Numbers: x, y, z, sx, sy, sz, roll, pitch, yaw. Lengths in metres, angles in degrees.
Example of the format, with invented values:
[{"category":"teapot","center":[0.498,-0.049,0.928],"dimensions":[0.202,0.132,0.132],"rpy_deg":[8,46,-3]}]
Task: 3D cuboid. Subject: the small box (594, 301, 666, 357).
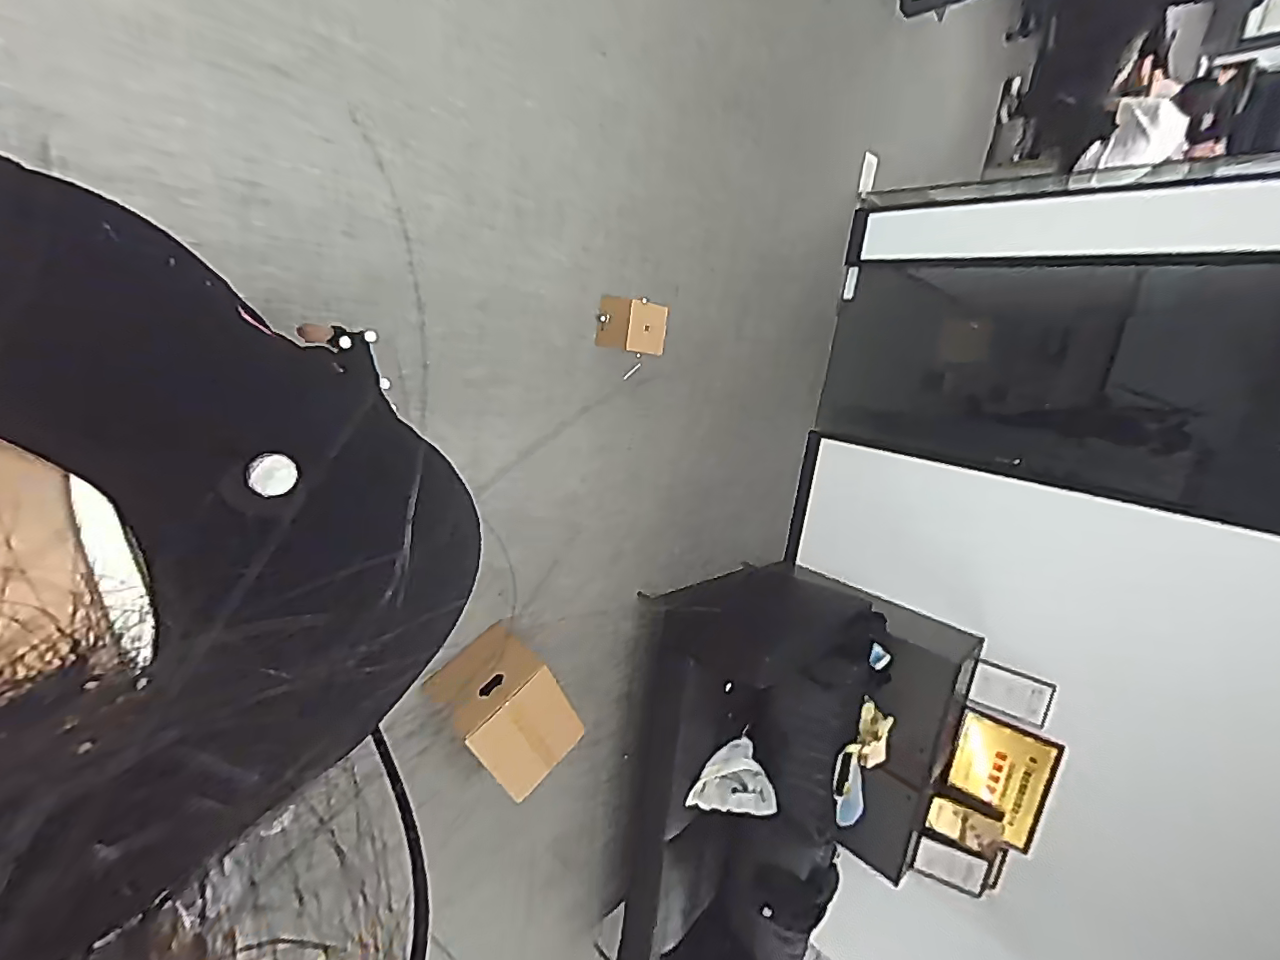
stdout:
[{"category":"small box","center":[-0.036,-0.531,1.901],"dimensions":[0.179,0.176,0.168],"rpy_deg":[-5,107,-44]}]
